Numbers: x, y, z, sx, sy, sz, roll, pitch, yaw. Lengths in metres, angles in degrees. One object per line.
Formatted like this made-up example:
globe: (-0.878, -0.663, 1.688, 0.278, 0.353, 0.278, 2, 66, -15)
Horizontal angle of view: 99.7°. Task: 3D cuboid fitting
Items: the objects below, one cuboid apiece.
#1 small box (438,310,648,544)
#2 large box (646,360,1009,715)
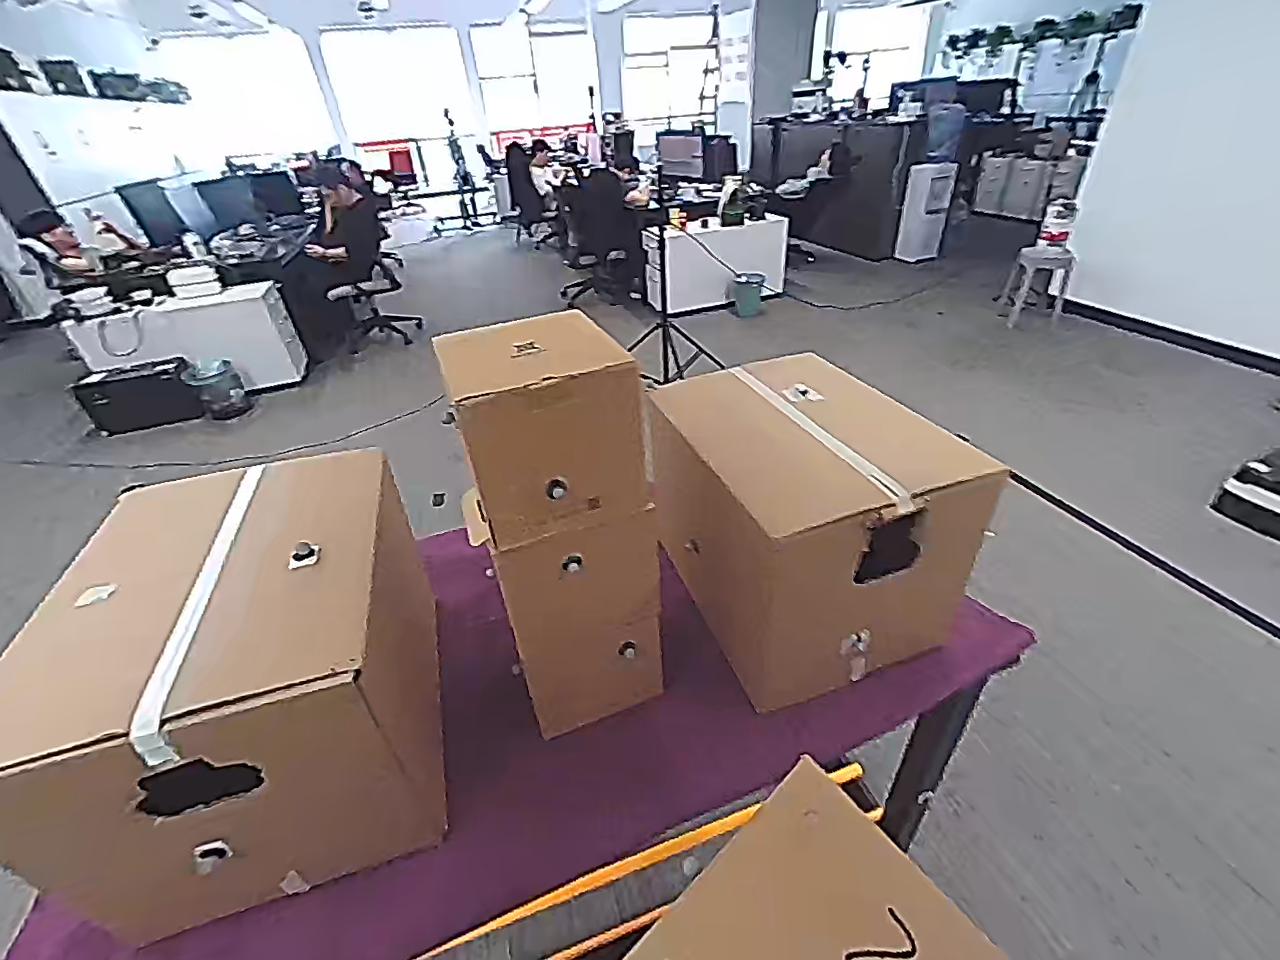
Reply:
small box: (-0.100, -0.062, 0.567, 0.168, 0.176, 0.179, -17, 37, -18)
large box: (0.228, 0.055, 0.816, 0.320, 0.320, 0.408, -14, 34, -14)
